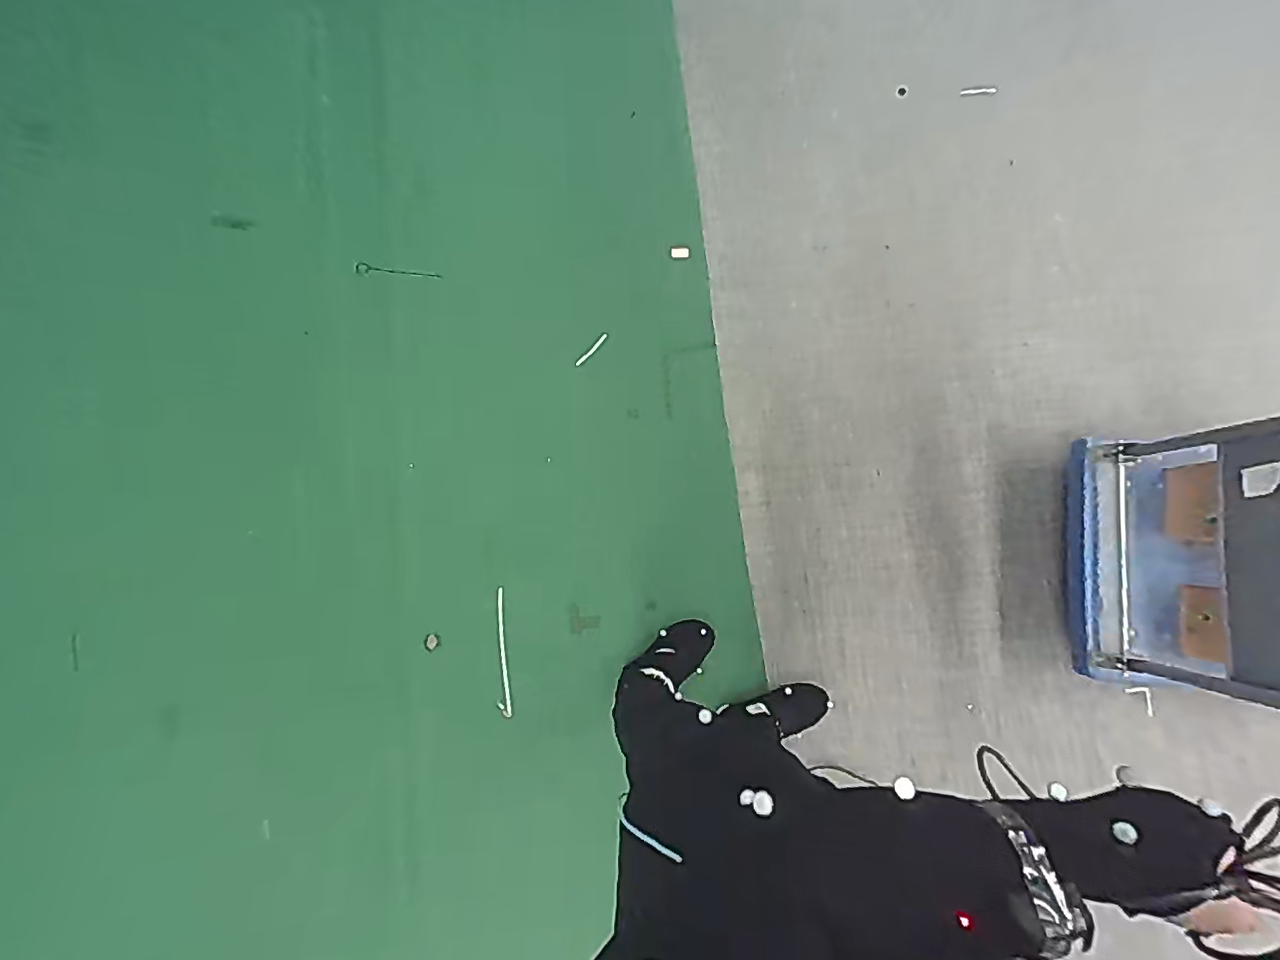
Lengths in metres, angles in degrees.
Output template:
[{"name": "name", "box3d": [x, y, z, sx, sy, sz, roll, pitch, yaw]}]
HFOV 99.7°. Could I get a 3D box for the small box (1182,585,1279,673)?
[{"name": "small box", "box3d": [1.341, 0.321, 1.166, 0.179, 0.176, 0.168, 7, 83, 0]}]
